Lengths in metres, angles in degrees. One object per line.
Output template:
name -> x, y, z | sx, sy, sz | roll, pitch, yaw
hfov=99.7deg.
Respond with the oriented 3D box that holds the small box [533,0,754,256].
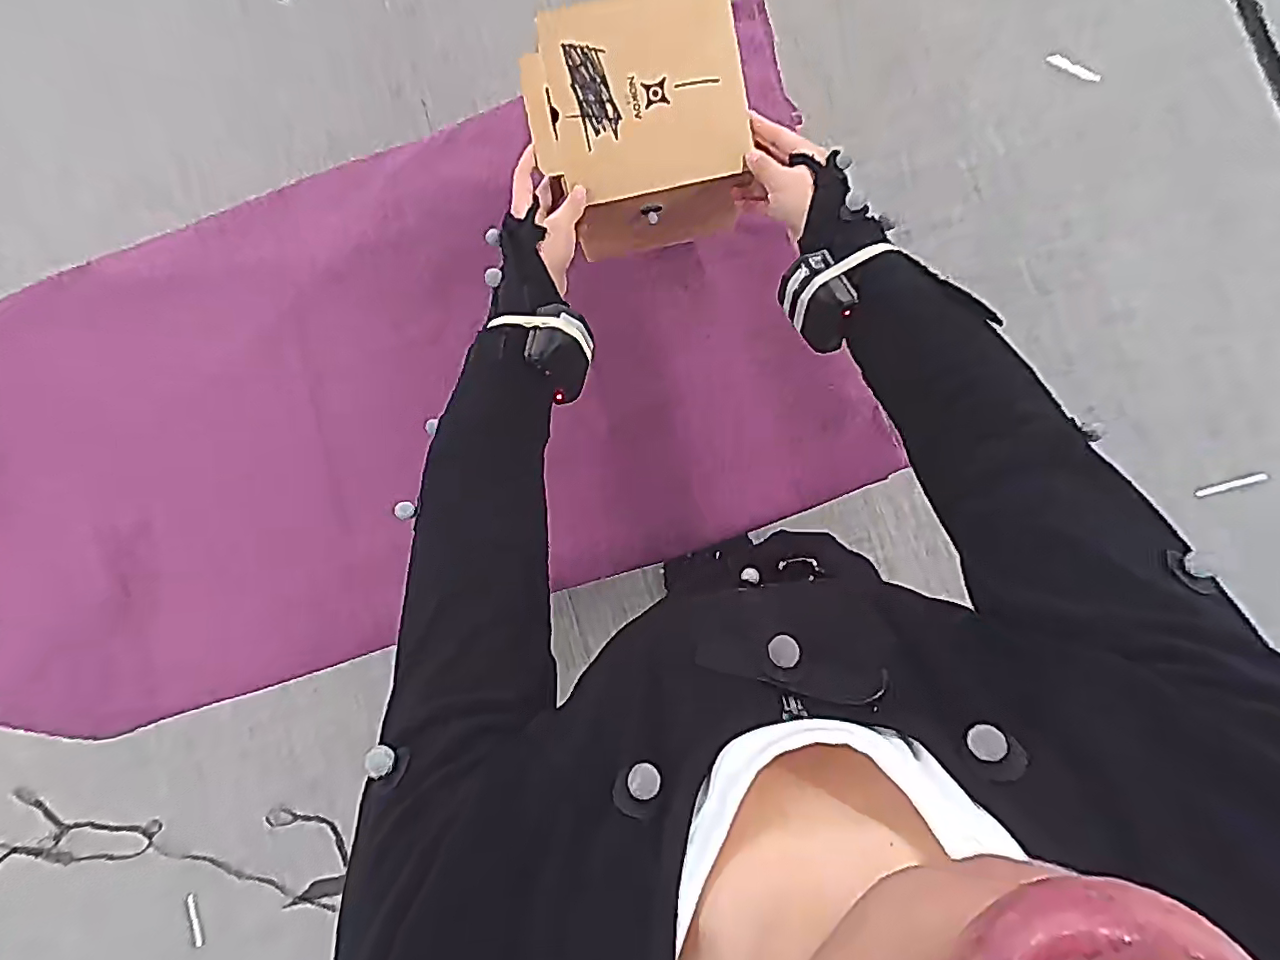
small box -> 0.005, -0.350, 0.560 | 0.179, 0.176, 0.168 | -11, 97, 1
